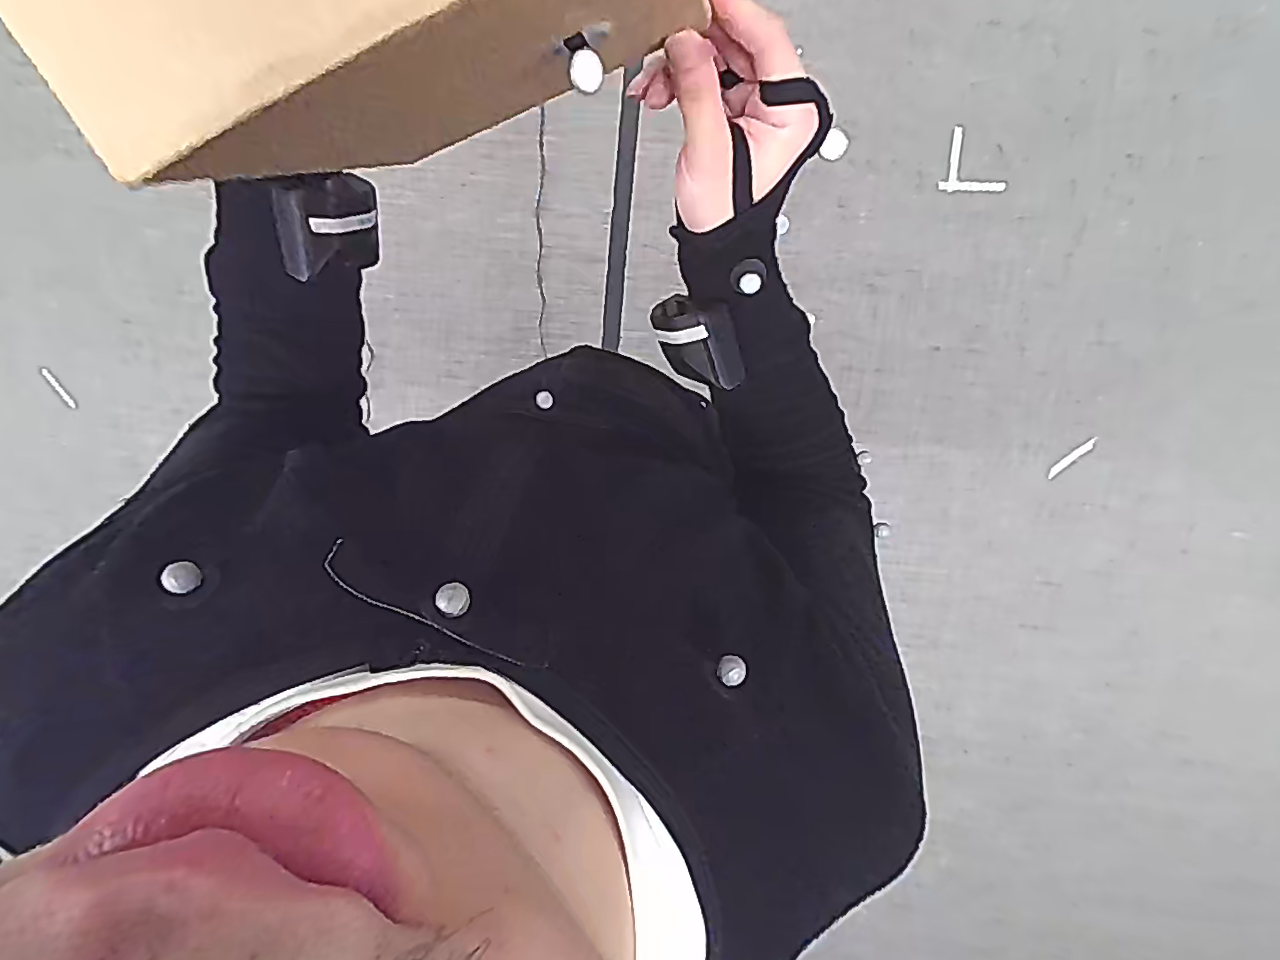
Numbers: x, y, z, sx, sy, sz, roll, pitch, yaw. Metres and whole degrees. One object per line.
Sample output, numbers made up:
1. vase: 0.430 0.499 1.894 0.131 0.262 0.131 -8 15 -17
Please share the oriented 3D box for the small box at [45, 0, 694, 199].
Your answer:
1. small box: -0.085 -0.218 0.181 0.179 0.176 0.168 -12 119 20
